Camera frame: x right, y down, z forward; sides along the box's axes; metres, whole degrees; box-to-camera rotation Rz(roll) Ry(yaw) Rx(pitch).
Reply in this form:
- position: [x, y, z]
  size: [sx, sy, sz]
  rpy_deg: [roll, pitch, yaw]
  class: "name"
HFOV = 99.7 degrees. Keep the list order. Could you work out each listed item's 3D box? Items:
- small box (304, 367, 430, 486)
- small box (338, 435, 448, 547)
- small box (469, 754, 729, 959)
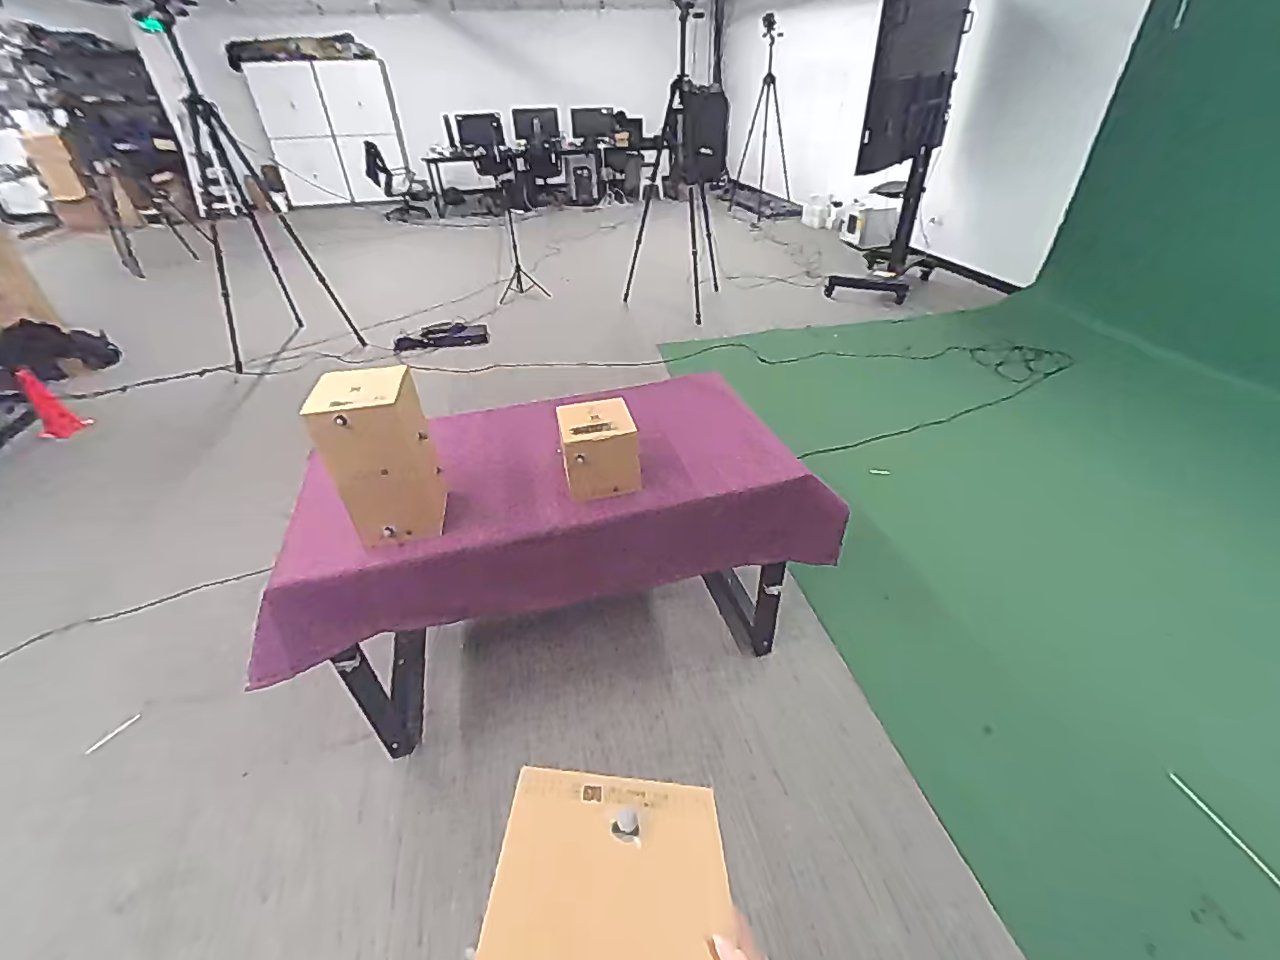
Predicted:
- position: [-0.537, -0.111, 1.094]
  size: [0.168, 0.176, 0.179]
  rpy_deg: [-10, 36, -7]
  class: "small box"
- position: [-0.530, 0.022, 1.192]
  size: [0.168, 0.176, 0.179]
  rpy_deg: [-8, 37, -7]
  class: "small box"
- position: [-0.034, 0.349, 0.410]
  size: [0.168, 0.179, 0.176]
  rpy_deg: [9, 15, -4]
  class: "small box"
